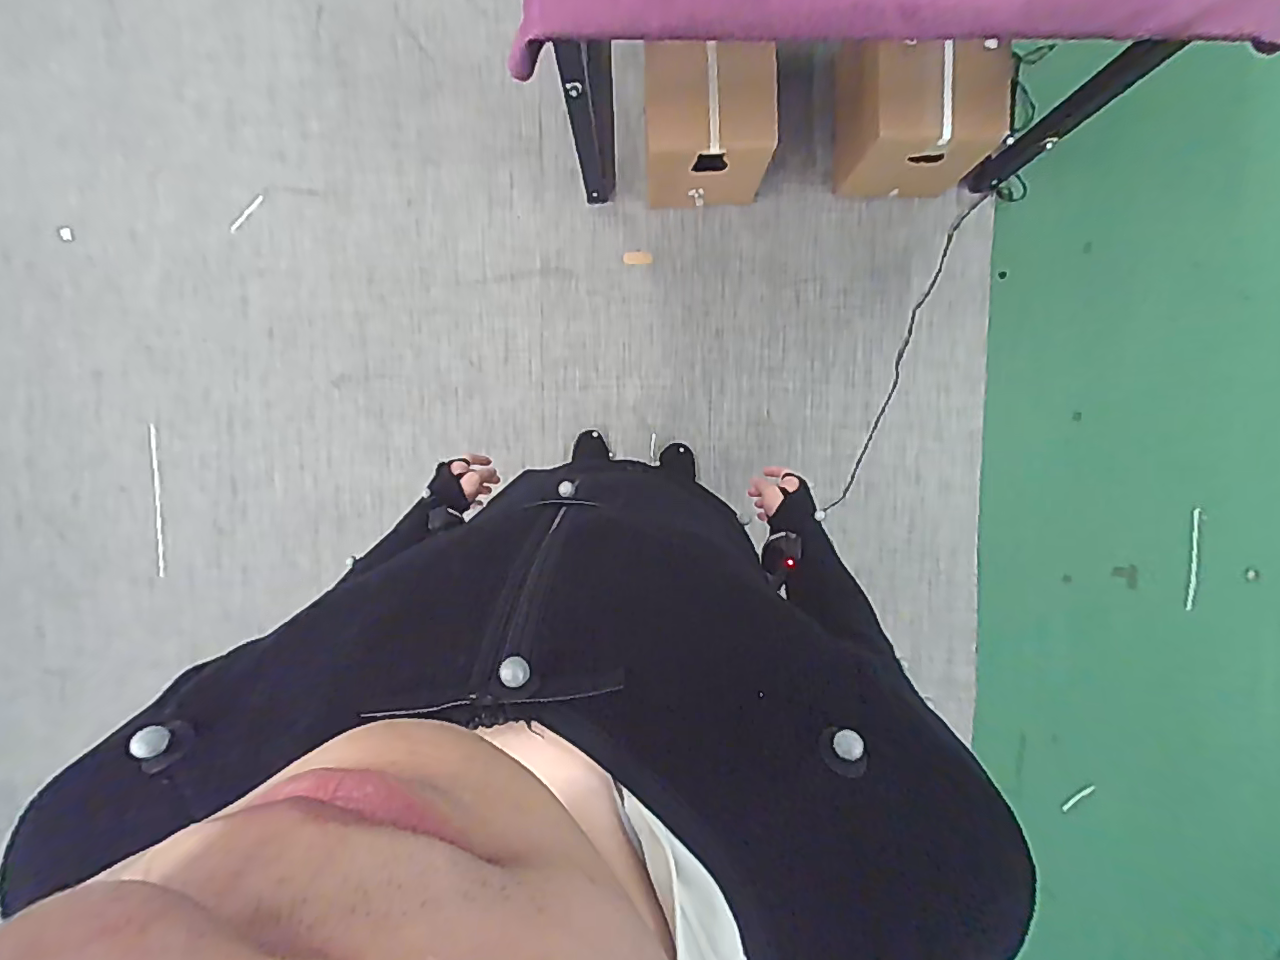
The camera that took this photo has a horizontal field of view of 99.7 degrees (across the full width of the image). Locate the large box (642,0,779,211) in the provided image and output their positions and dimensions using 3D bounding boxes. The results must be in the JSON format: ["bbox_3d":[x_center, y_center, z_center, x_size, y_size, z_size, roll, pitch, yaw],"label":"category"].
[{"bbox_3d":[0.171,-0.991,1.435,0.320,0.320,0.408,-2,92,0],"label":"large box"}]
